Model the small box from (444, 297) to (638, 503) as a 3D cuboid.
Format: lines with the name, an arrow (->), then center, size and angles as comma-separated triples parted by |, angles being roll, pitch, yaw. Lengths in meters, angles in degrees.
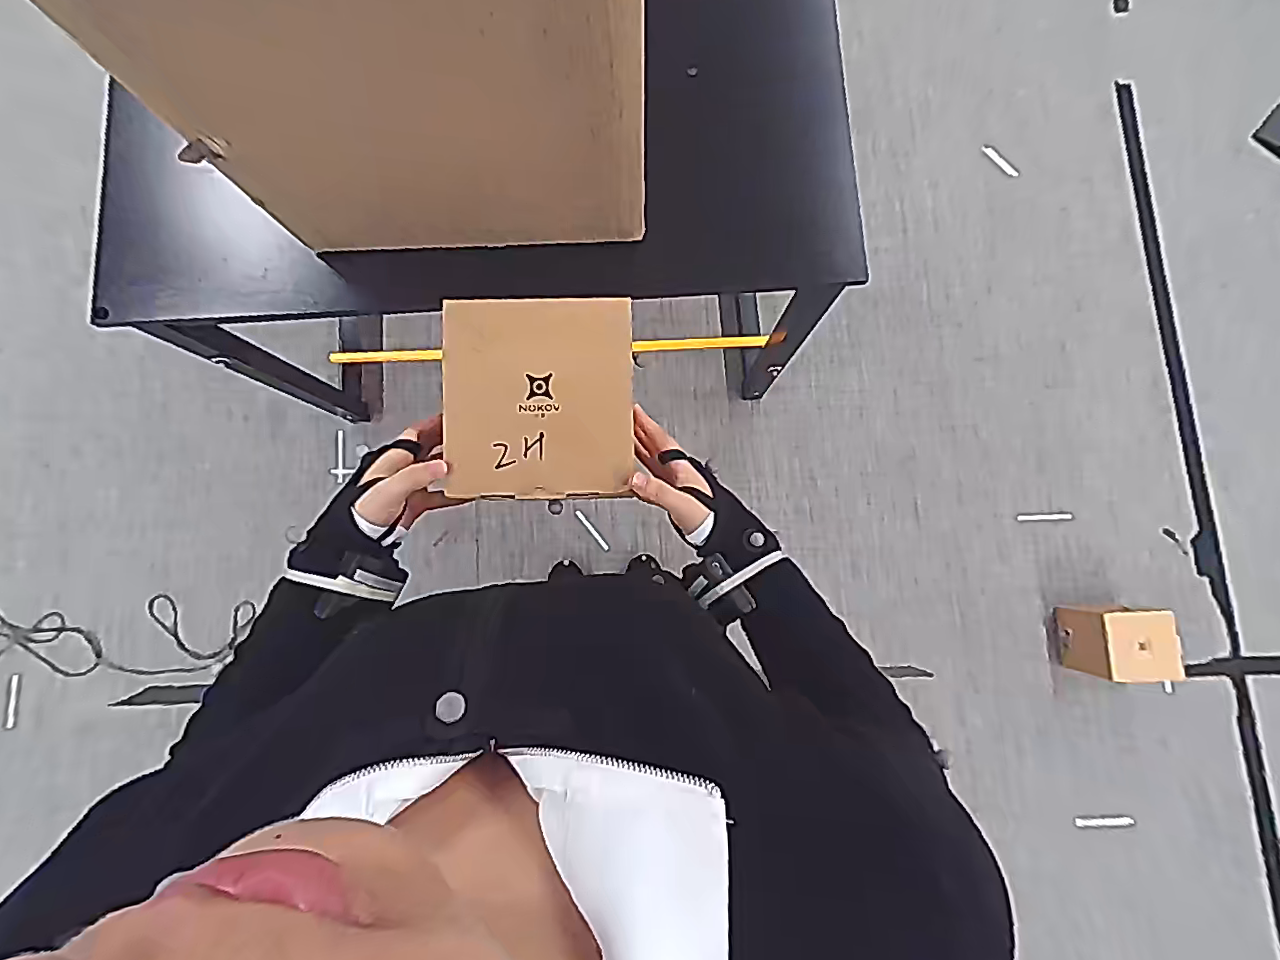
small box -> -0.087, -0.067, 0.545 | 0.168, 0.176, 0.179 | -1, 87, -1

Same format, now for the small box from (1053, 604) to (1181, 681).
small box -> 1.221, 0.413, 1.396 | 0.179, 0.176, 0.168 | -3, 82, 1
